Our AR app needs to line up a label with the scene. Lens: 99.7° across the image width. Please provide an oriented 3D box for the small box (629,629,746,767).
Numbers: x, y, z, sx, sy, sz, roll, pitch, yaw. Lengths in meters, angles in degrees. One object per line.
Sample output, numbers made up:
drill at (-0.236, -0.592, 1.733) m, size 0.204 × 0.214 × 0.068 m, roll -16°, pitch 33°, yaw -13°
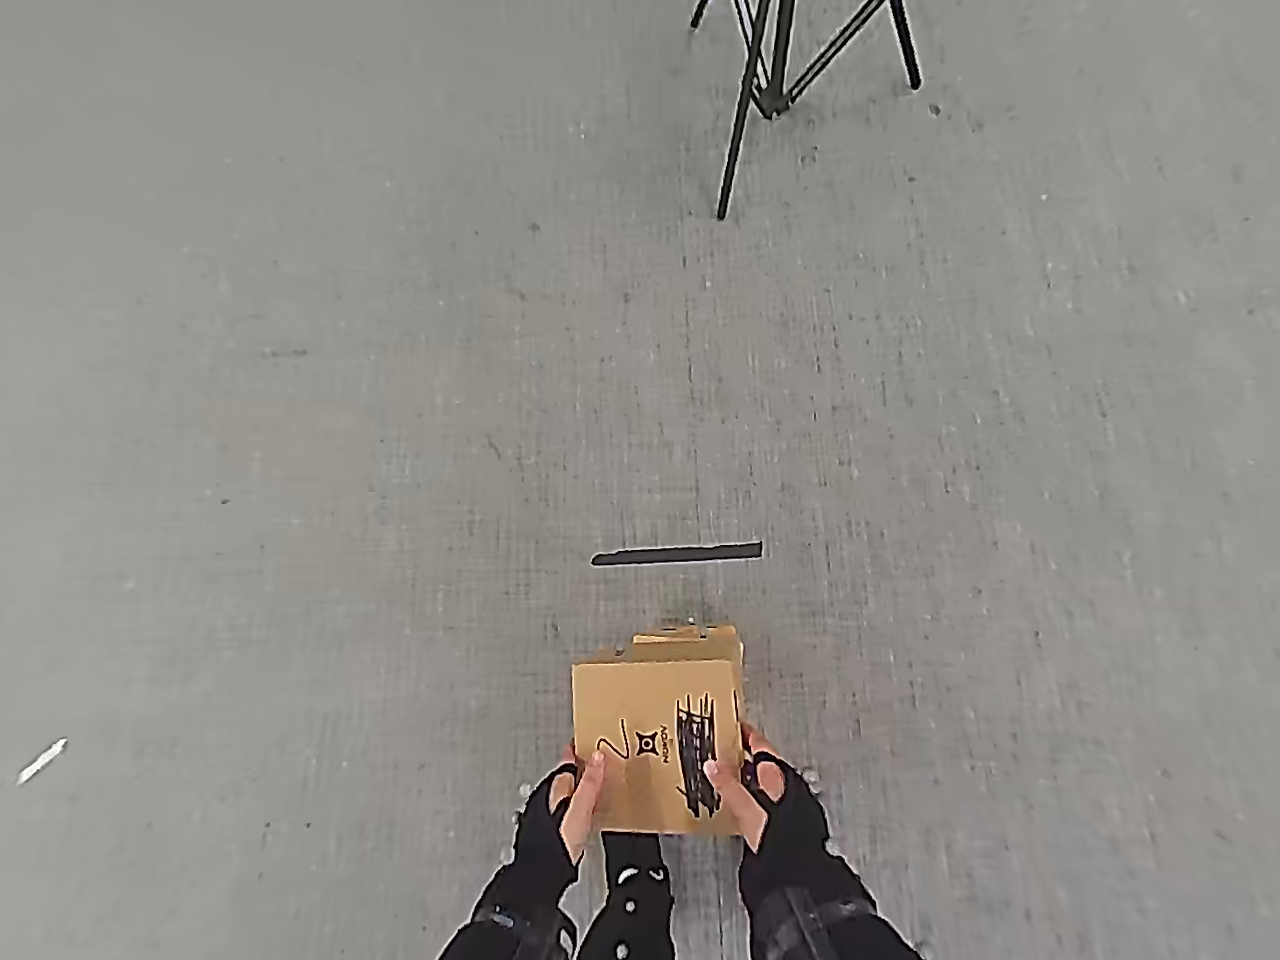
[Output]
small box at (0.079, 0.335, 0.866) m, size 0.168 × 0.176 × 0.179 m, roll 1°, pitch 78°, yaw 8°

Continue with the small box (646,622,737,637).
small box at (0.106, 0.366, 1.024) m, size 0.168 × 0.176 × 0.179 m, roll -5°, pitch 76°, yaw 6°
